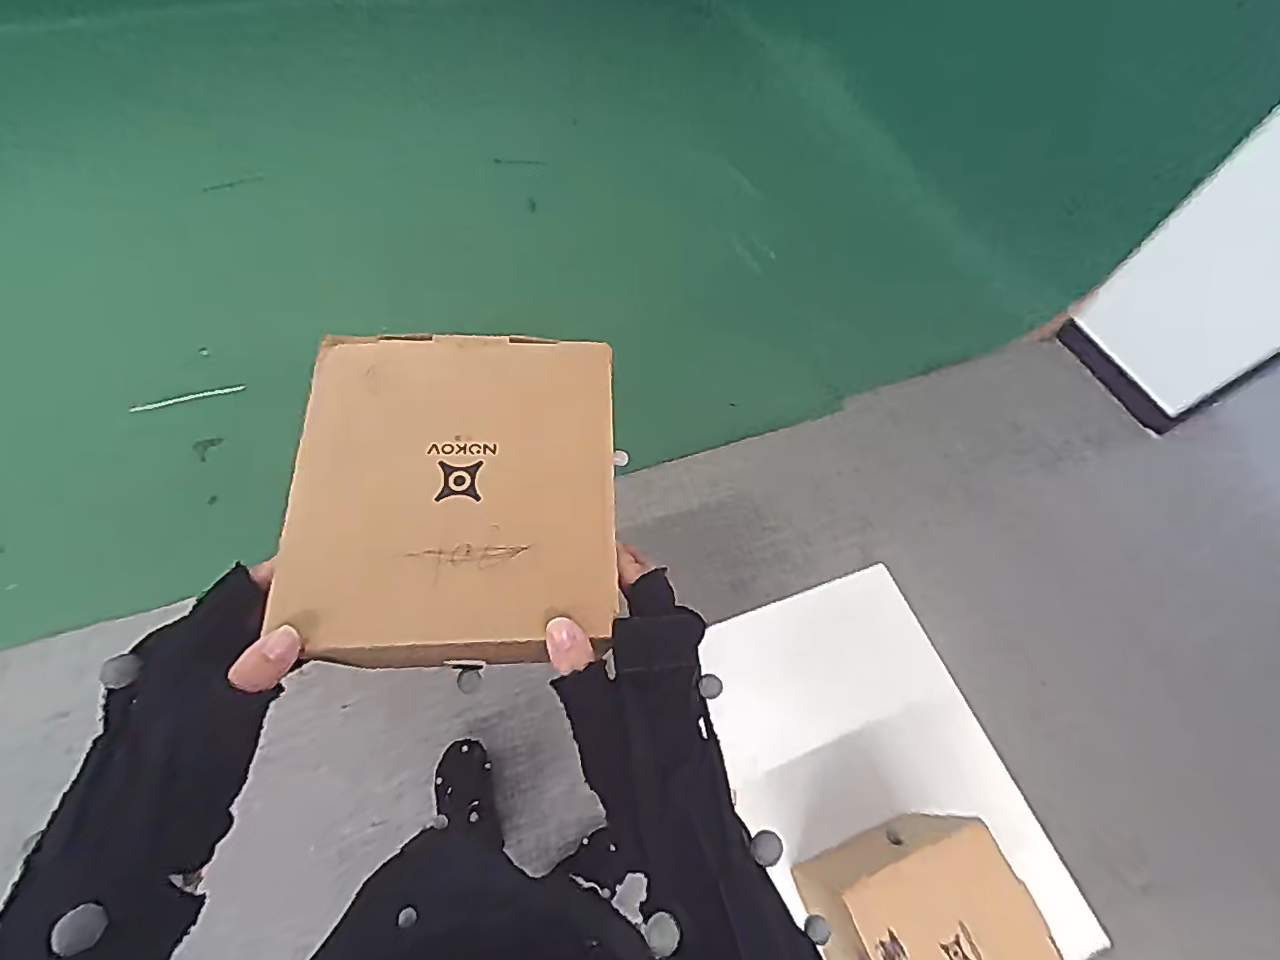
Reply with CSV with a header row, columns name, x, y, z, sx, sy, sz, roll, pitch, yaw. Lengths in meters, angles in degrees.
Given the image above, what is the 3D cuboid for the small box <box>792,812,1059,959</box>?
name,x,y,z,sx,sy,sz,roll,pitch,yaw
small box,0.294,0.477,0.579,0.179,0.176,0.168,-16,63,-13

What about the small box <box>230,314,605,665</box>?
name,x,y,z,sx,sy,sz,roll,pitch,yaw
small box,-0.111,0.019,0.348,0.168,0.176,0.179,-1,69,-7
